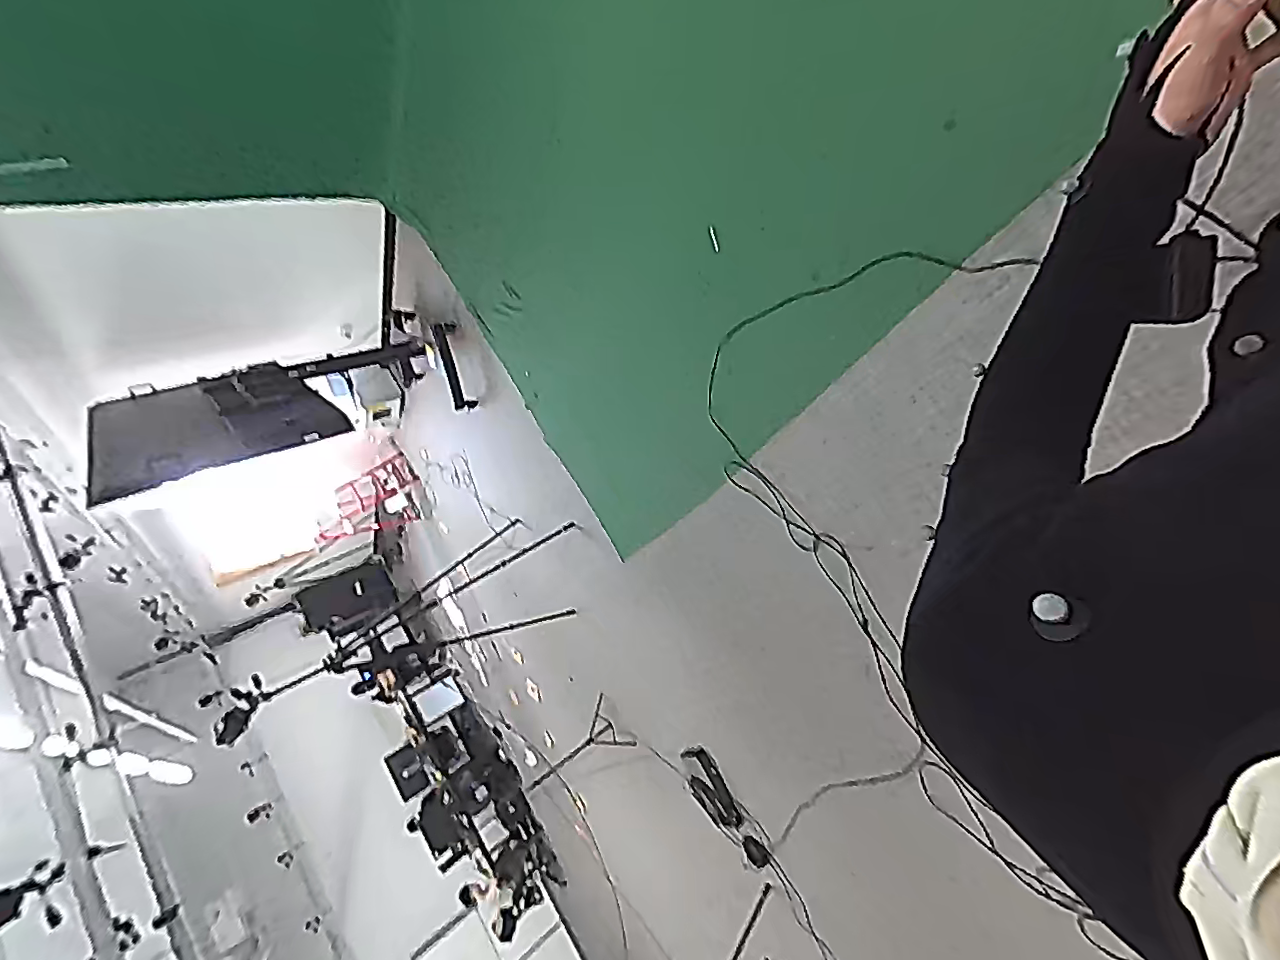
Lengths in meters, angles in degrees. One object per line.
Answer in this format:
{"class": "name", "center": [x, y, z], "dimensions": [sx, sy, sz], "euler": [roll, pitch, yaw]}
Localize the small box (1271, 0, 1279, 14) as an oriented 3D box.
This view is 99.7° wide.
{"class": "small box", "center": [0.433, -0.370, 0.266], "dimensions": [0.168, 0.176, 0.179], "euler": [-1, 108, 54]}
